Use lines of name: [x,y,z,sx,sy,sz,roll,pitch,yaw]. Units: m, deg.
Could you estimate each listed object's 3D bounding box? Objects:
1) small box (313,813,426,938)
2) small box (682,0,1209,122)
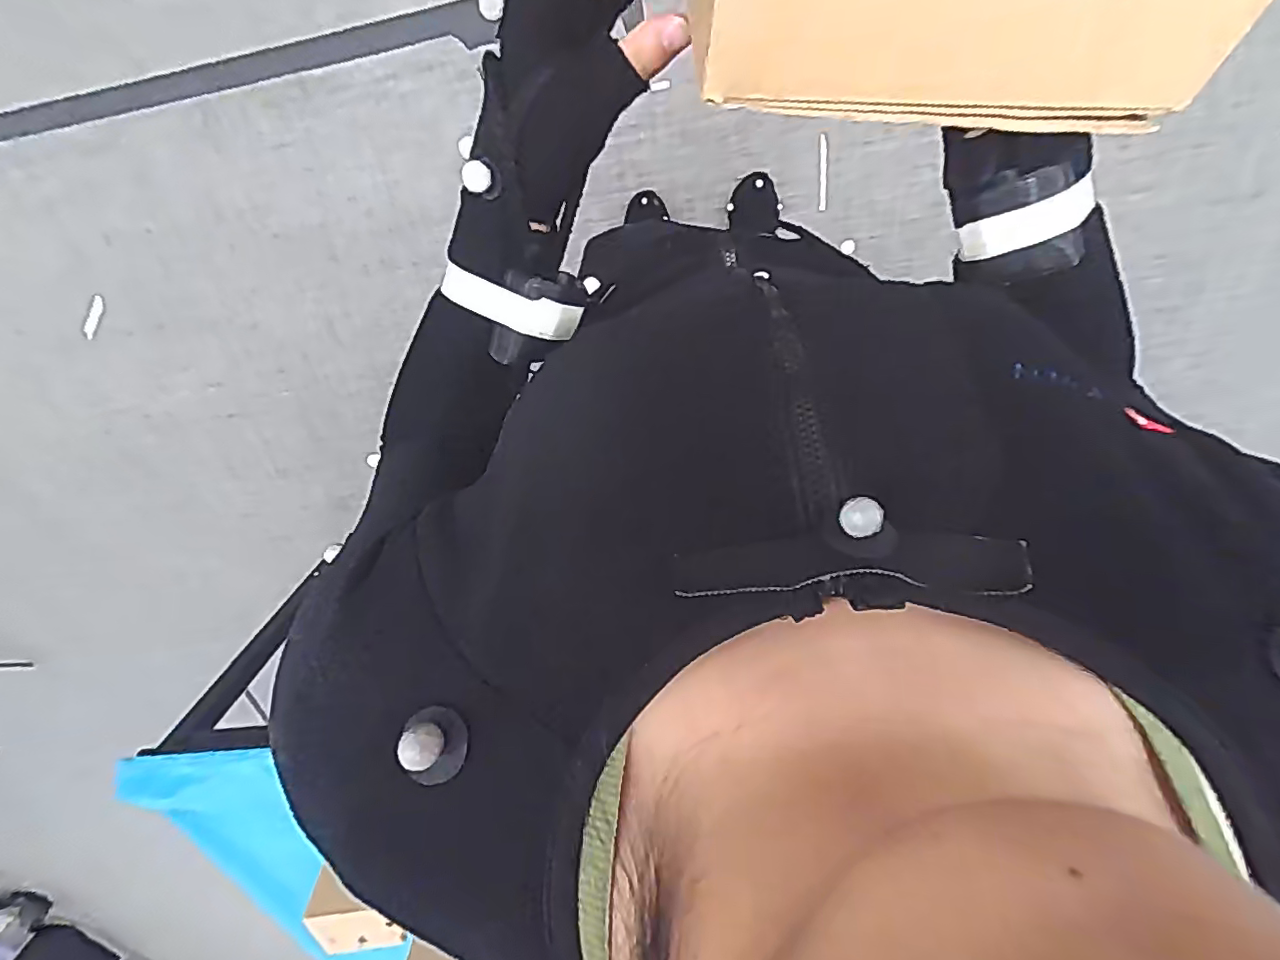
small box: [-0.611,0.899,1.228,0.176,0.179,0.168,-4,119,-4]
small box: [0.107,-0.245,0.168,0.179,0.168,0.176,-1,149,-2]
